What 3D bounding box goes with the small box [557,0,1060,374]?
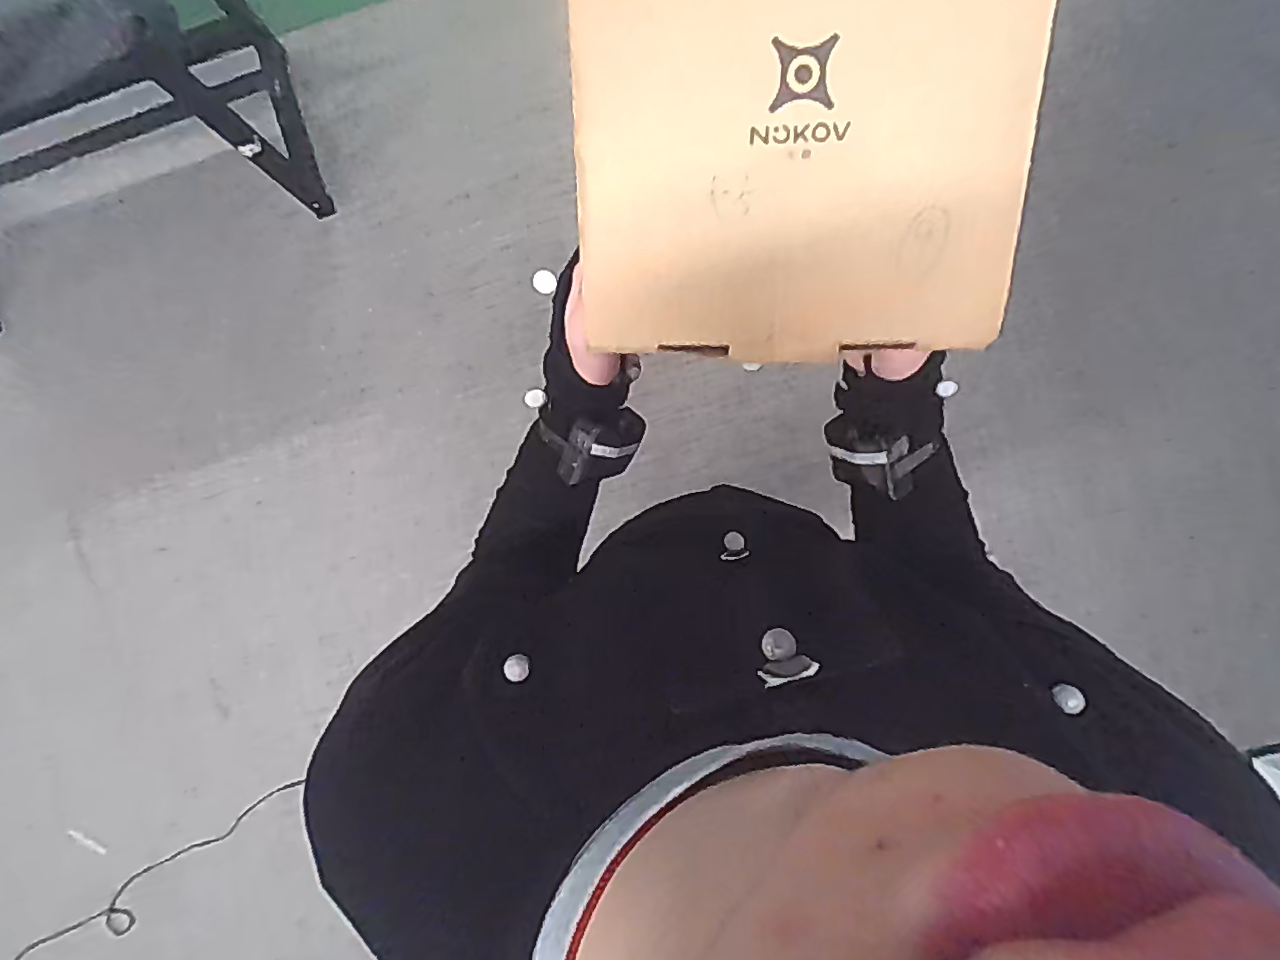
[{"bbox_3d":[0.058,-0.152,0.265,0.168,0.176,0.179,0,108,2],"label":"small box"}]
